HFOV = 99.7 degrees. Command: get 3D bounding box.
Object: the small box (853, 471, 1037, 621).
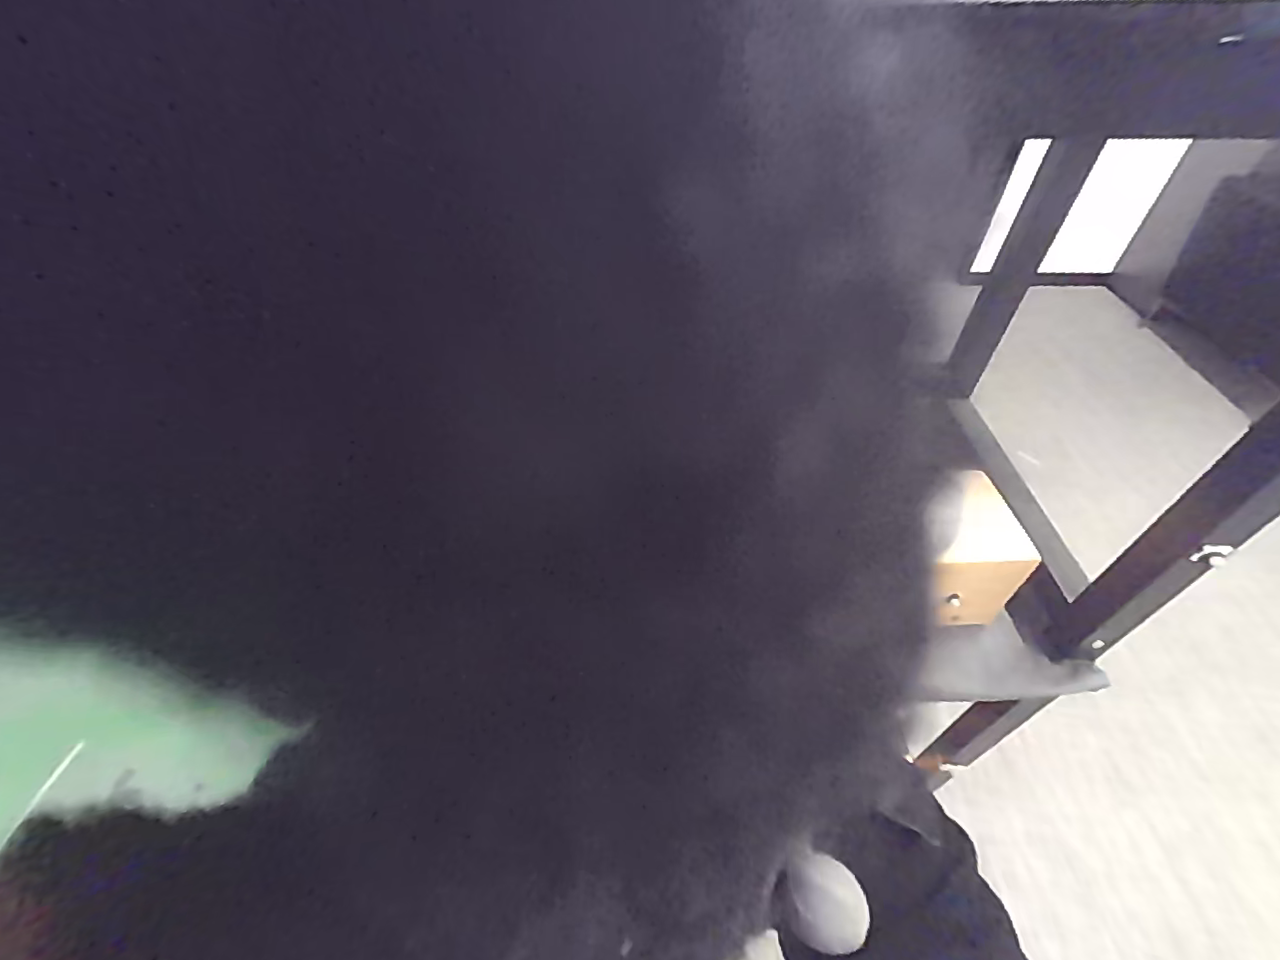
[{"bbox_3d":[0.453,0.106,0.839,0.168,0.176,0.179,-1,45,-1],"label":"small box"}]
